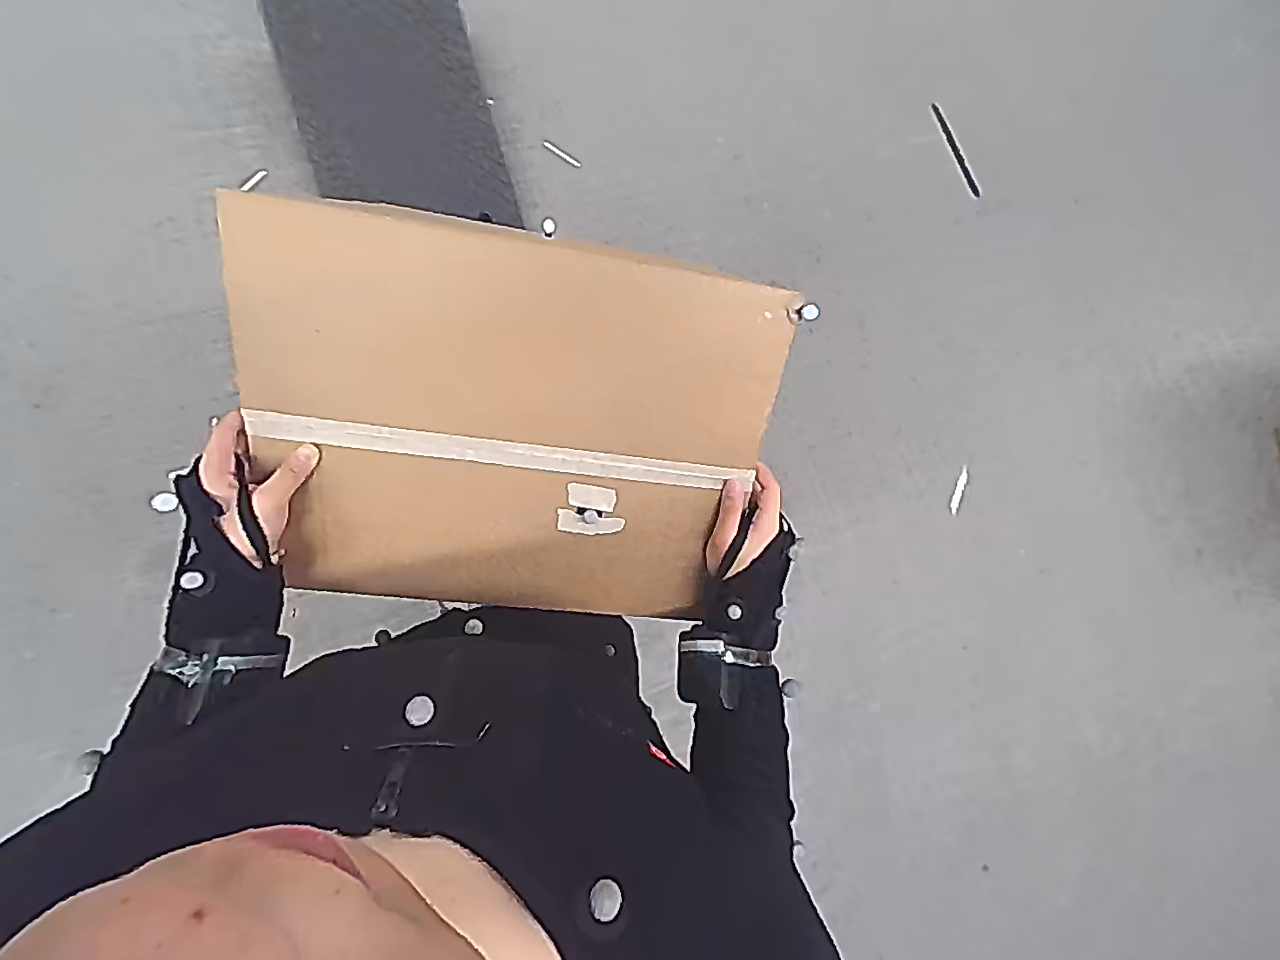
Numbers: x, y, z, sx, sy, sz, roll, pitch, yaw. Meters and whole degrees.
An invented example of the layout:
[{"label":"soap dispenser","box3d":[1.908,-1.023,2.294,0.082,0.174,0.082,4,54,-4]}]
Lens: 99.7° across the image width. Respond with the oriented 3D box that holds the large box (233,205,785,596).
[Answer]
[{"label":"large box","box3d":[-0.118,-0.097,0.588,0.408,0.320,0.320,5,116,-10]}]
